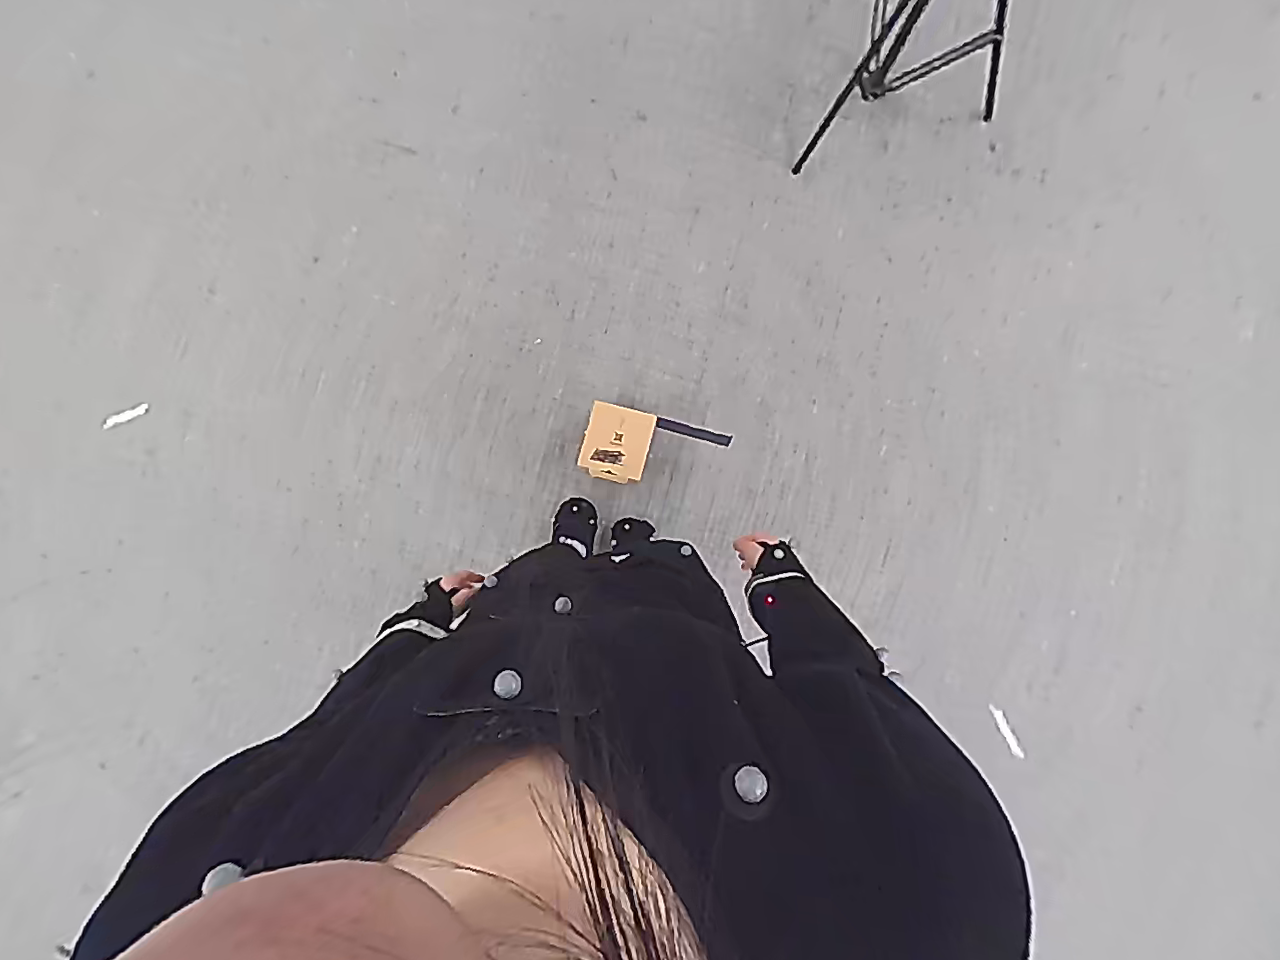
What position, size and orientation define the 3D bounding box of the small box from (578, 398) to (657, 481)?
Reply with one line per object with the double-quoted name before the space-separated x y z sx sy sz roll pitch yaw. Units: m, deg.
"small box" -0.056 -0.100 1.441 0.168 0.176 0.179 15 86 1
